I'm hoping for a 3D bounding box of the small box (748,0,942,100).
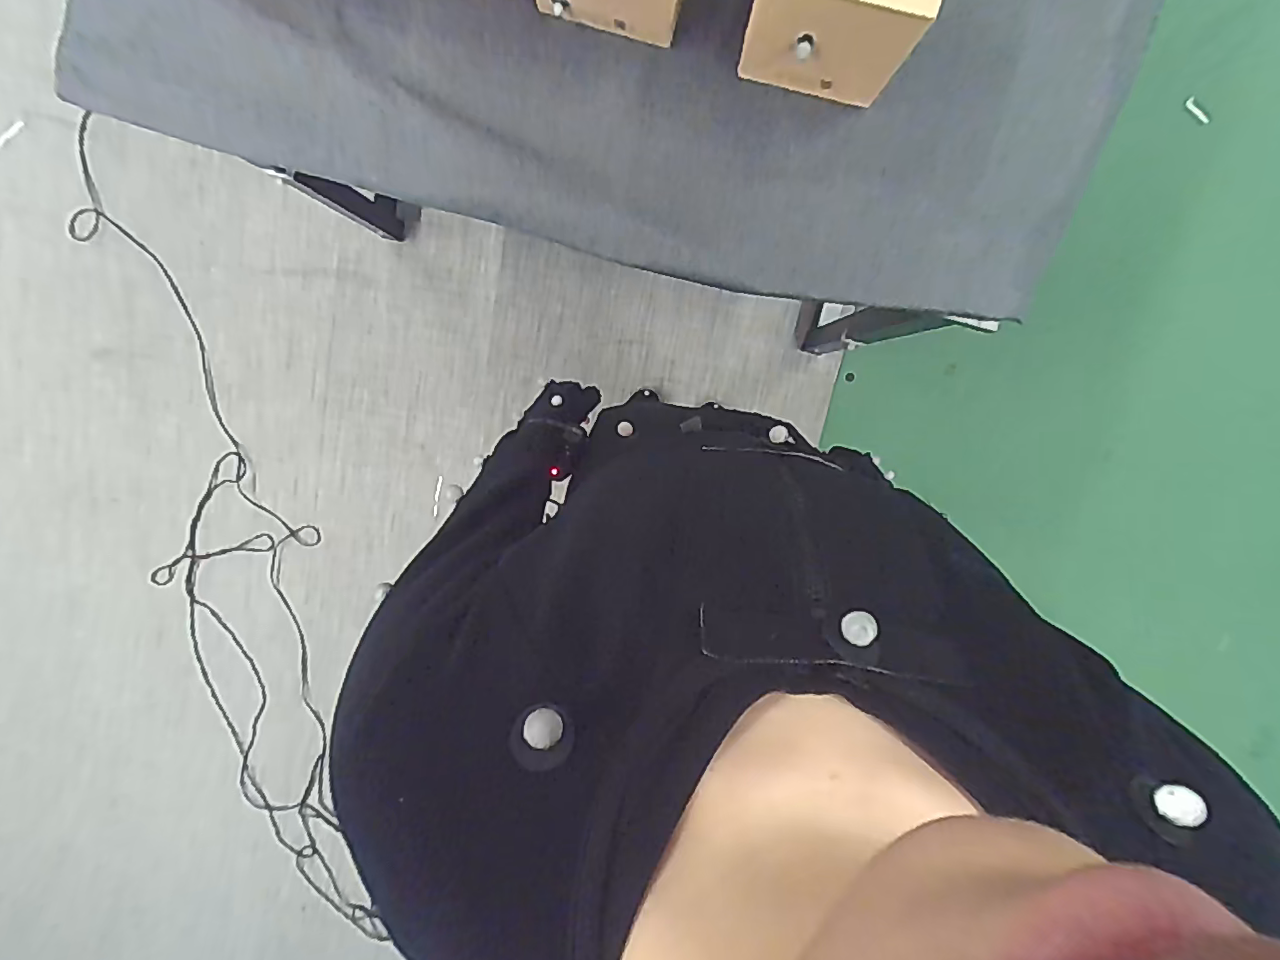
[{"bbox_3d":[0.218,-0.538,0.558,0.168,0.176,0.179,13,99,0],"label":"small box"}]
